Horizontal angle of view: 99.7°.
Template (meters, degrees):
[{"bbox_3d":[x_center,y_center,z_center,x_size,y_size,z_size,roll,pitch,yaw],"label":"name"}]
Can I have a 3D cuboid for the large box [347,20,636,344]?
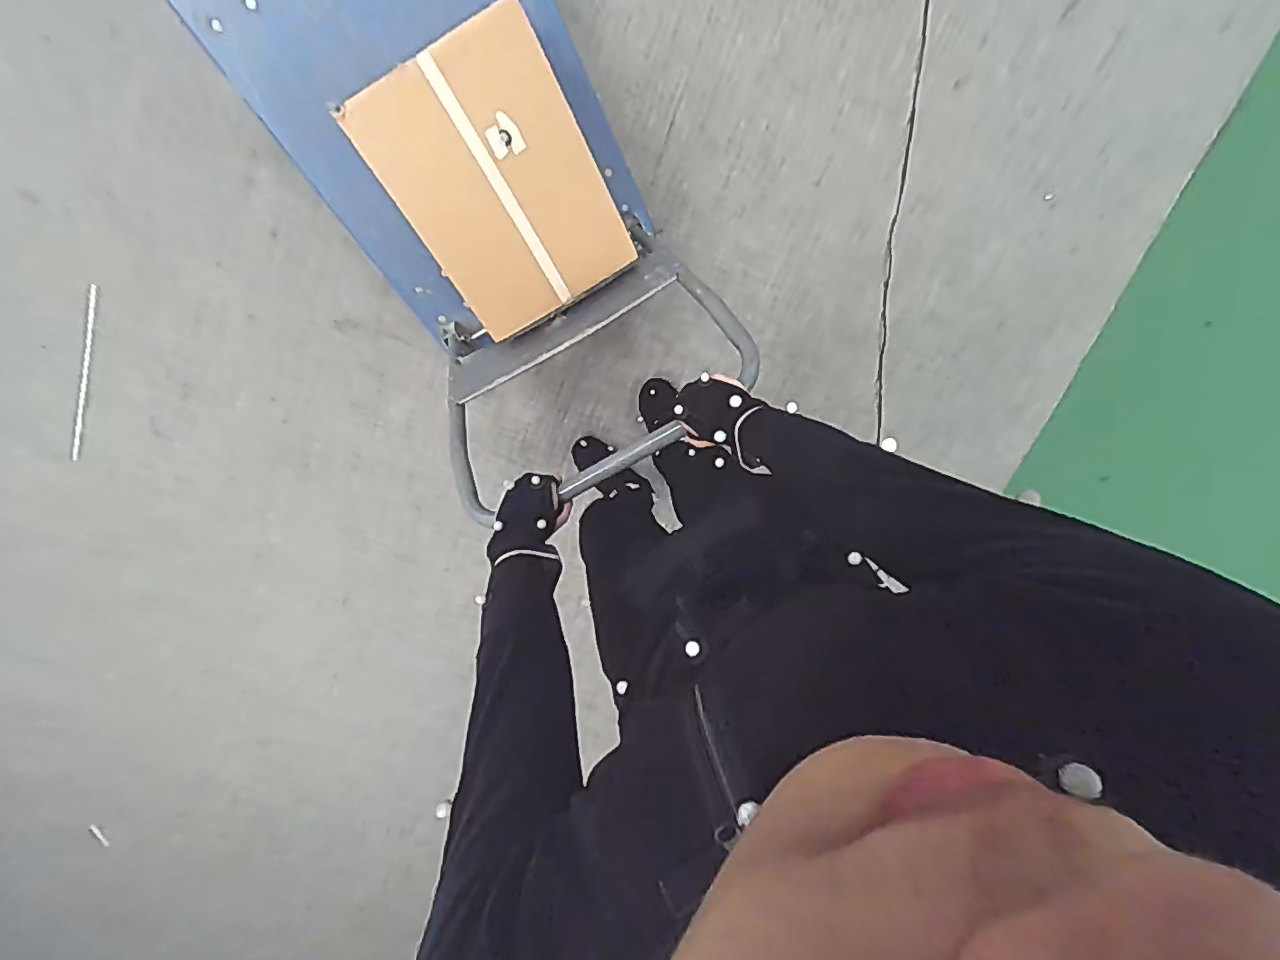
[{"bbox_3d":[-0.255,-0.546,1.032,0.320,0.320,0.408,-29,126,4],"label":"large box"}]
